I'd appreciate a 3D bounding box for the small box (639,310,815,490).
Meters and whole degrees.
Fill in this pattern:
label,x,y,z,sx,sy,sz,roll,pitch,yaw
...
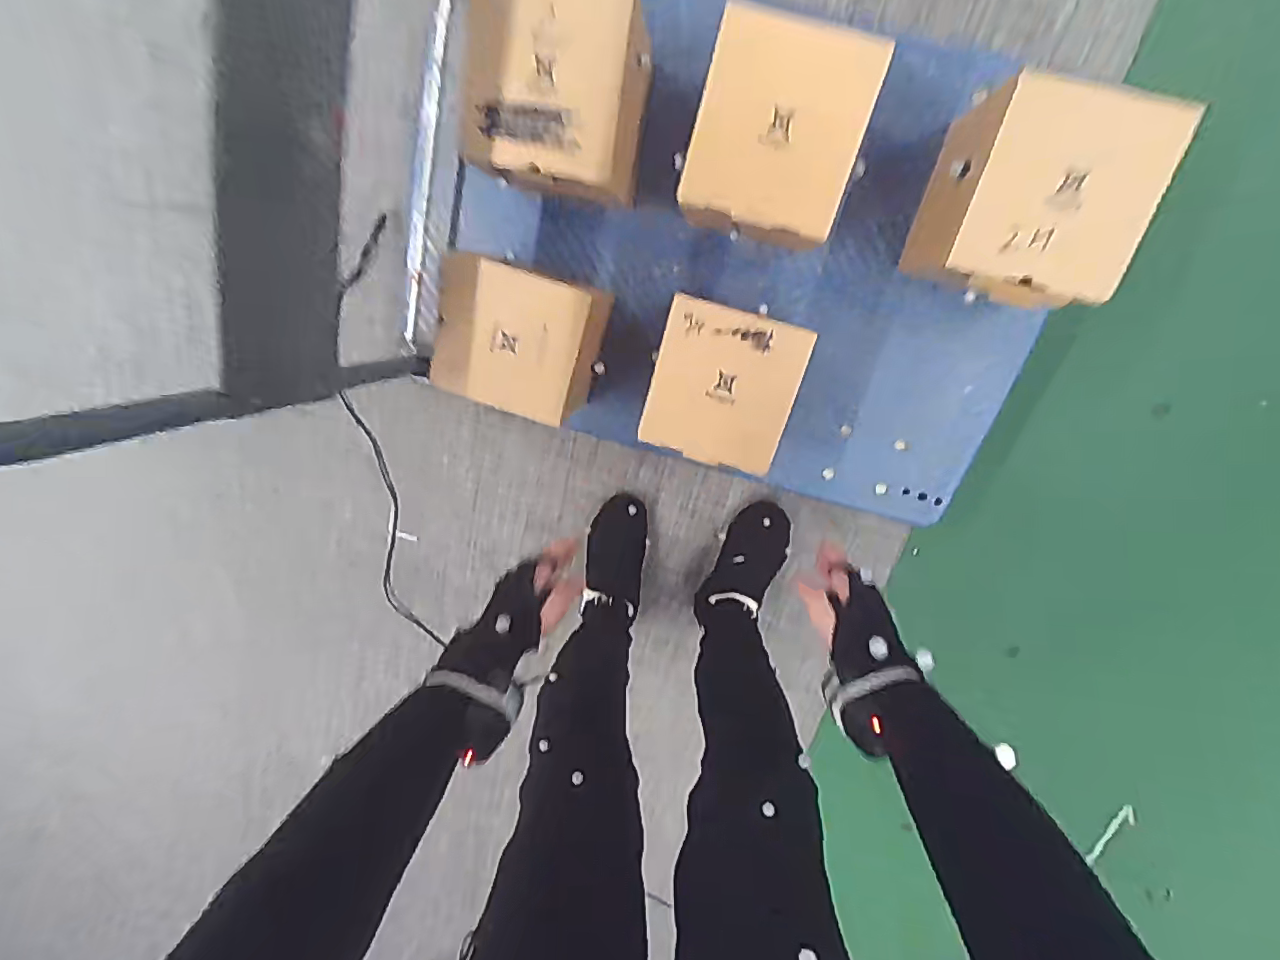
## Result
label,x,y,z,sx,sy,sz,roll,pitch,yaw
small box,0.109,-0.114,0.710,0.168,0.176,0.179,17,109,2

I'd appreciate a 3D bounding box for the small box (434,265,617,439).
label,x,y,z,sx,sy,sz,roll,pitch,yaw
small box,-0.145,-0.173,0.727,0.179,0.176,0.168,19,109,1

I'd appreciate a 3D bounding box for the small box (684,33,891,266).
label,x,y,z,sx,sy,sz,roll,pitch,yaw
small box,0.154,-0.361,0.629,0.168,0.176,0.179,17,110,2

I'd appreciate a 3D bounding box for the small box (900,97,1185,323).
label,x,y,z,sx,sy,sz,roll,pitch,yaw
small box,0.423,-0.286,0.611,0.168,0.176,0.179,16,109,4
